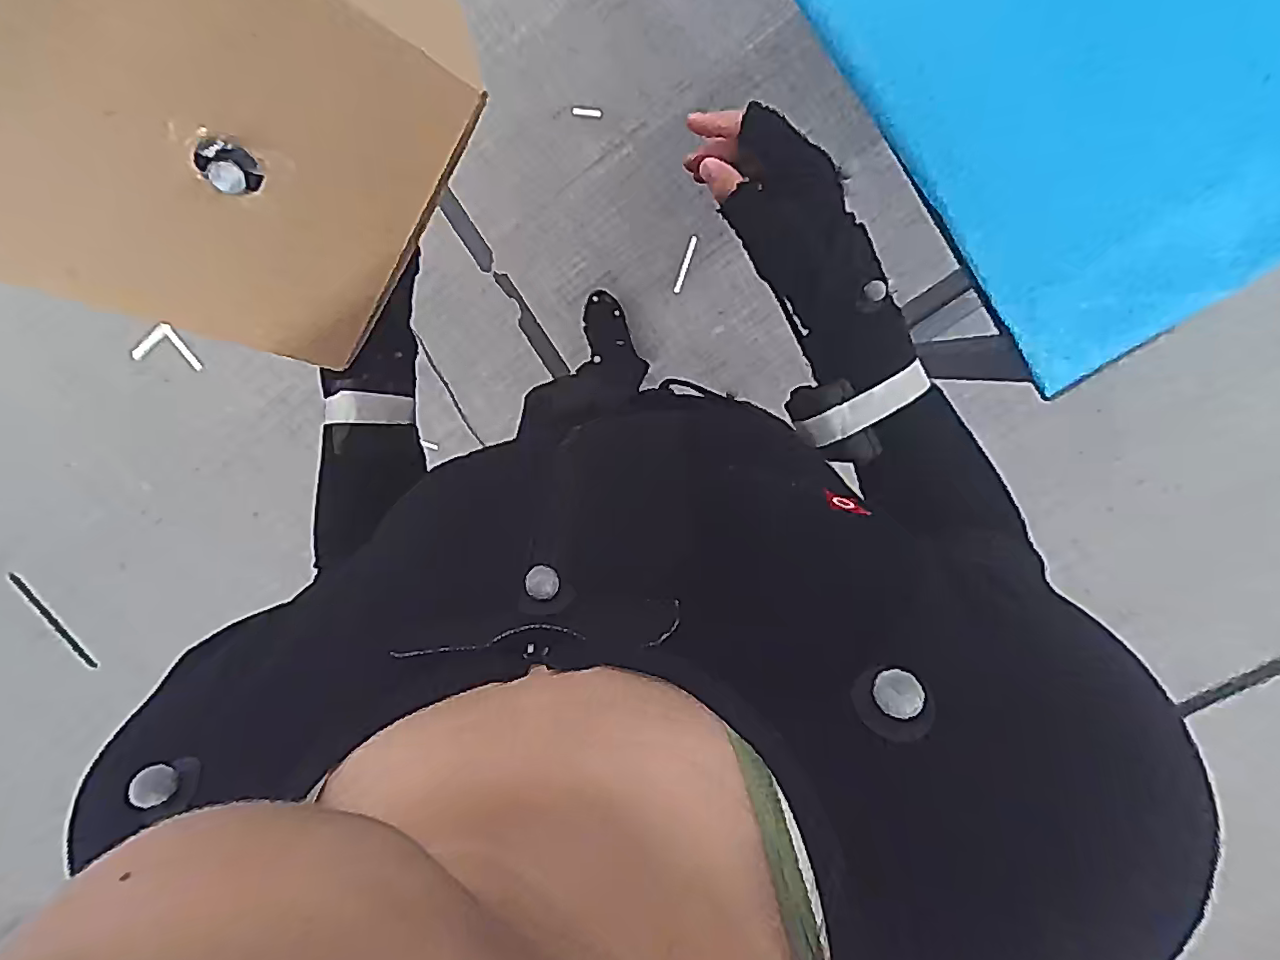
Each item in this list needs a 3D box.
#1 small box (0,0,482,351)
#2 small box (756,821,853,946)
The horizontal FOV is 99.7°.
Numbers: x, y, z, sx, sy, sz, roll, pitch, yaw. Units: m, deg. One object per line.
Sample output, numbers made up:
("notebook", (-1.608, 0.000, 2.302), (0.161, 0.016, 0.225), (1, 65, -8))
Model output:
("small box", (-0.199, -0.198, 0.251), (0.179, 0.176, 0.168), (-41, 54, 34))
("small box", (0.420, 1.041, 1.404), (0.168, 0.176, 0.179), (-30, 97, 10))
